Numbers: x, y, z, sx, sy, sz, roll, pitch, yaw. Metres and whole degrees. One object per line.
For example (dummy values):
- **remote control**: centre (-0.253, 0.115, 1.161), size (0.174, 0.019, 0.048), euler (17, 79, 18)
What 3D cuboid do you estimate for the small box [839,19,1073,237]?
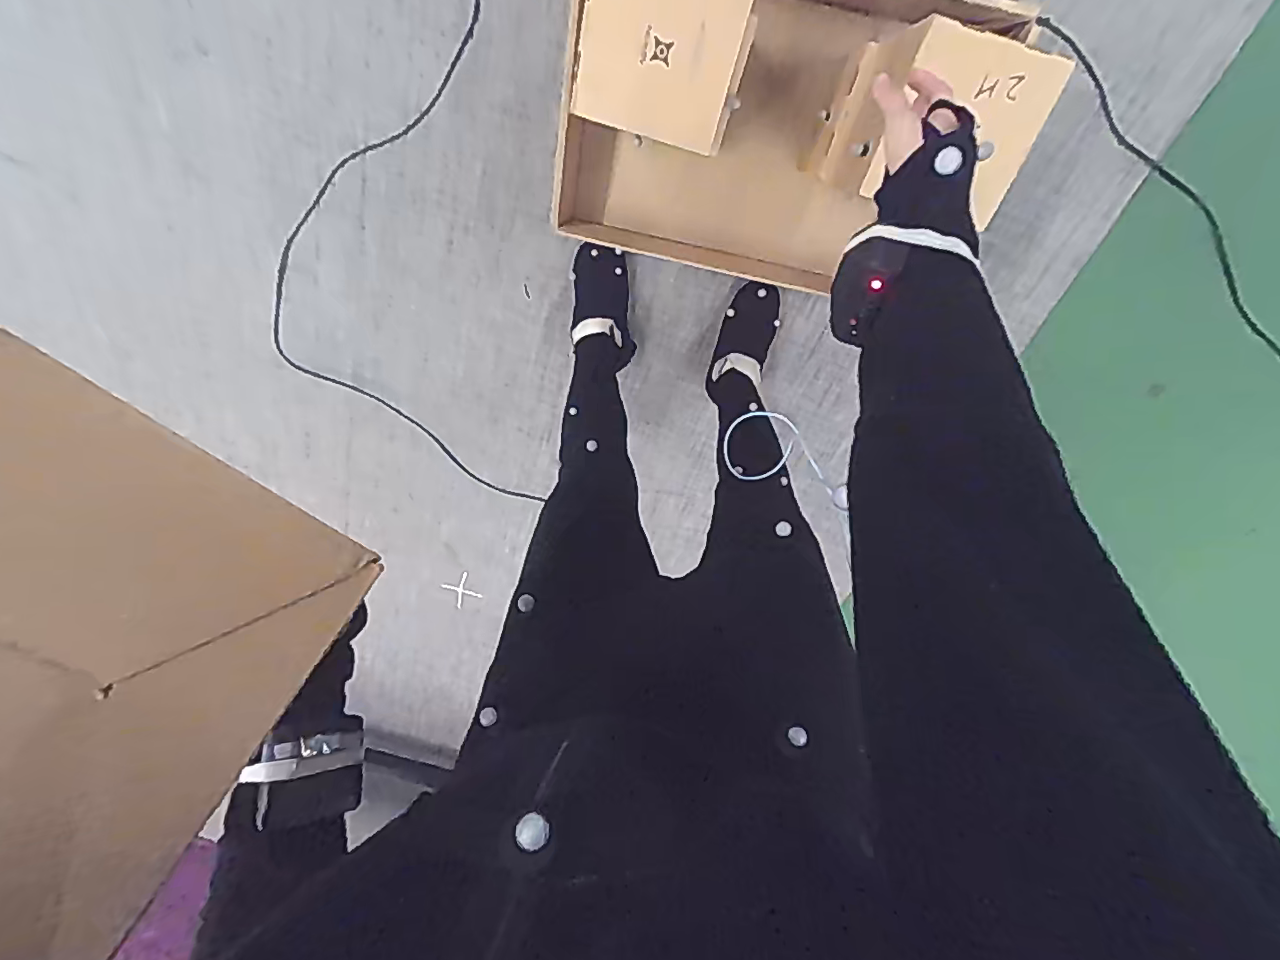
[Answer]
- **small box**: centre (0.372, -0.432, 0.684), size (0.168, 0.176, 0.179), euler (16, 121, -5)

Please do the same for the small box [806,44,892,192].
- **small box**: centre (0.373, -0.522, 0.823), size (0.179, 0.176, 0.168), euler (17, 121, -3)

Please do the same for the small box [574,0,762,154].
- **small box**: centre (0.034, -0.520, 0.667), size (0.179, 0.176, 0.168), euler (16, 123, -5)
